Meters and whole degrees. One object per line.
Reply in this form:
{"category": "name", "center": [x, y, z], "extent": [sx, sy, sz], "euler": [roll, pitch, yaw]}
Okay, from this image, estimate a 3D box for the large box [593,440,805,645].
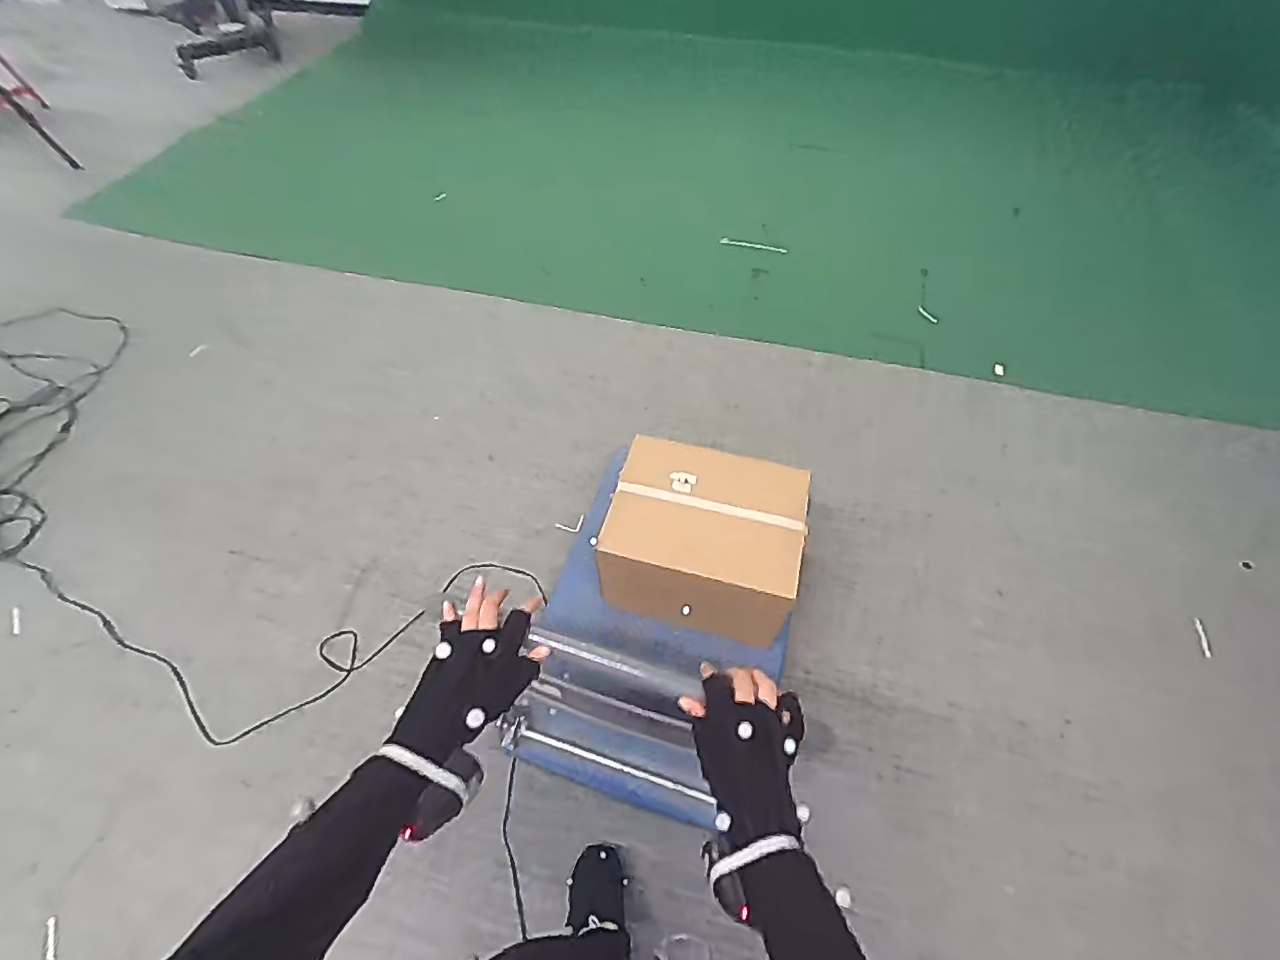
{"category": "large box", "center": [0.141, 0.150, 1.262], "extent": [0.408, 0.320, 0.320], "euler": [12, 55, 11]}
